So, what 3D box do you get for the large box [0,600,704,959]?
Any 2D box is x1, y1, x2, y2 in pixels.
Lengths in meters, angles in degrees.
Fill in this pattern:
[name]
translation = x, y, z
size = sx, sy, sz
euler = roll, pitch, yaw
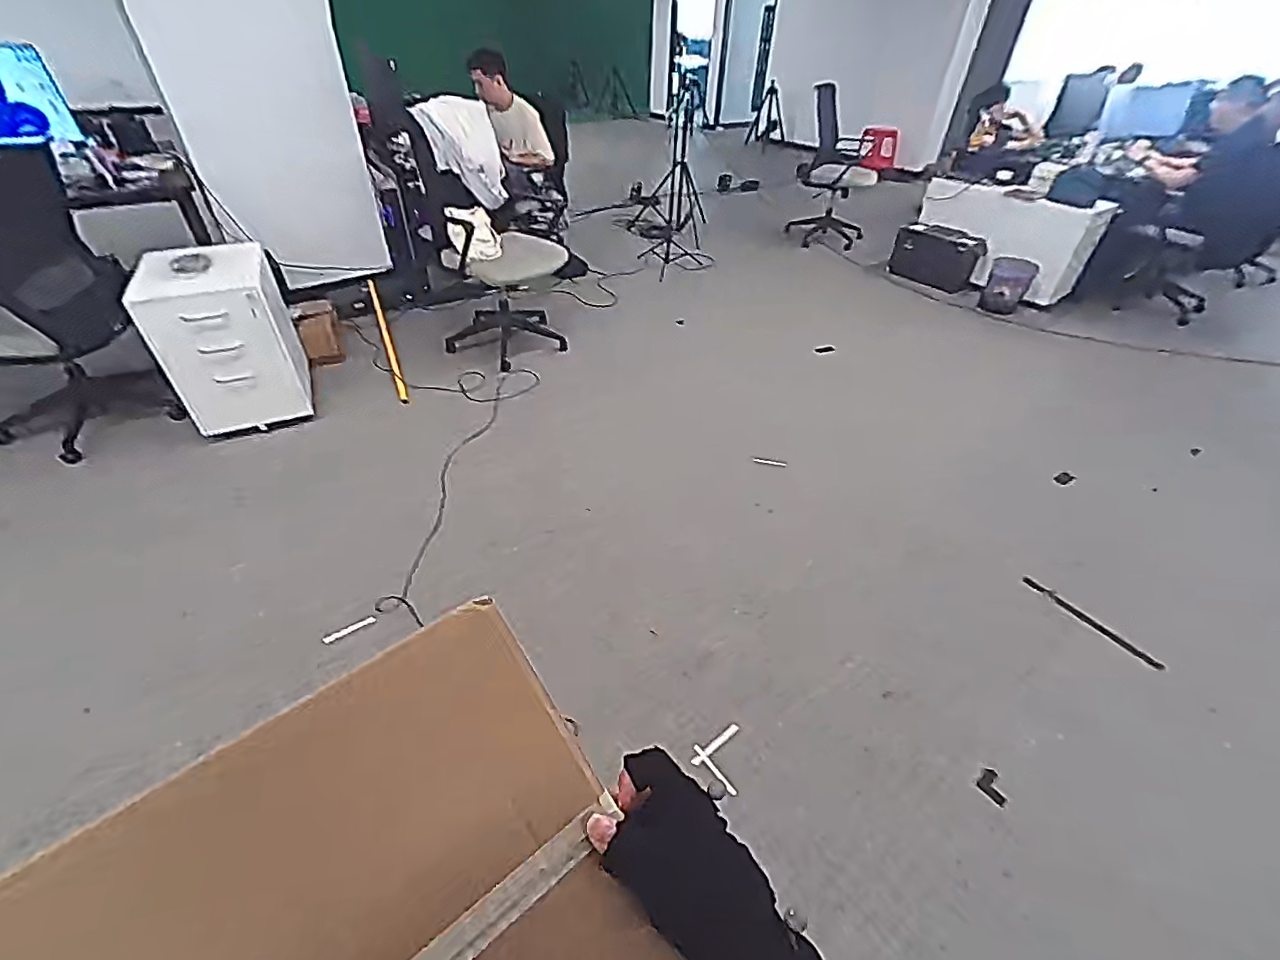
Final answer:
[large box]
translation = -0.227, 0.346, 0.390
size = 0.408, 0.320, 0.320
euler = -30, 84, -27
